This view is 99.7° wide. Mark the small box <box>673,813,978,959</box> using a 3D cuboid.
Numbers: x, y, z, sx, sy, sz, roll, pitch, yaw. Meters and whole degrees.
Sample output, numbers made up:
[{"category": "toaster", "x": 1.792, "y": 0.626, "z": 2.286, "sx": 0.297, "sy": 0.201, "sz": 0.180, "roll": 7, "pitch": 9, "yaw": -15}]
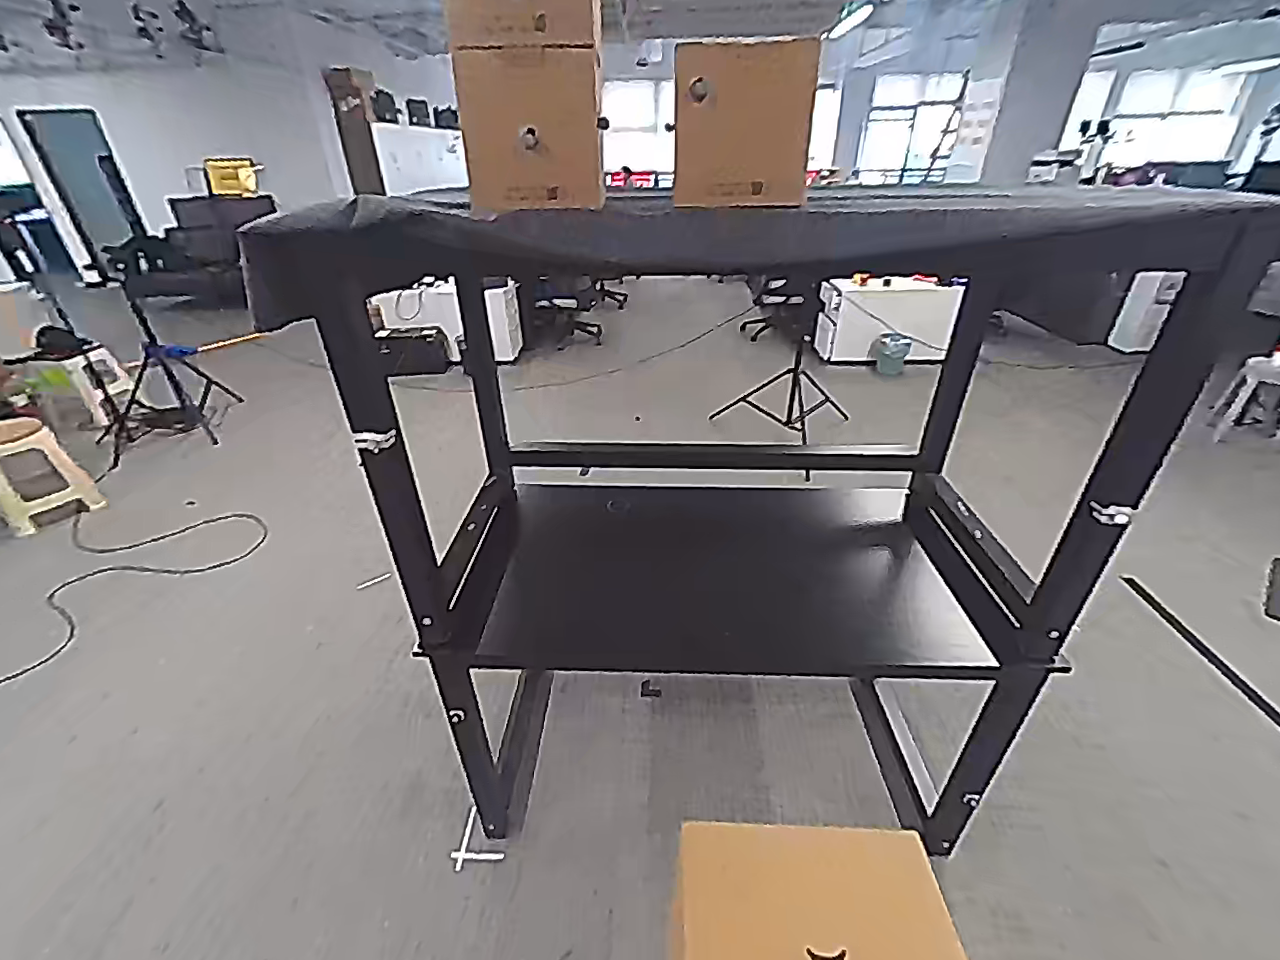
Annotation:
[{"category": "small box", "x": 0.108, "y": 0.346, "z": 0.335, "sx": 0.168, "sy": 0.176, "sz": 0.179, "roll": 2, "pitch": 28, "yaw": 1}]

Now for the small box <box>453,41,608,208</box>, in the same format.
[{"category": "small box", "x": -0.128, "y": -0.457, "z": 0.714, "sx": 0.168, "sy": 0.176, "sz": 0.179, "roll": -1, "pitch": 30, "yaw": -1}]

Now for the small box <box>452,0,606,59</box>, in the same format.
[{"category": "small box", "x": -0.128, "y": -0.601, "z": 0.633, "sx": 0.168, "sy": 0.176, "sz": 0.179, "roll": -2, "pitch": 30, "yaw": 0}]
